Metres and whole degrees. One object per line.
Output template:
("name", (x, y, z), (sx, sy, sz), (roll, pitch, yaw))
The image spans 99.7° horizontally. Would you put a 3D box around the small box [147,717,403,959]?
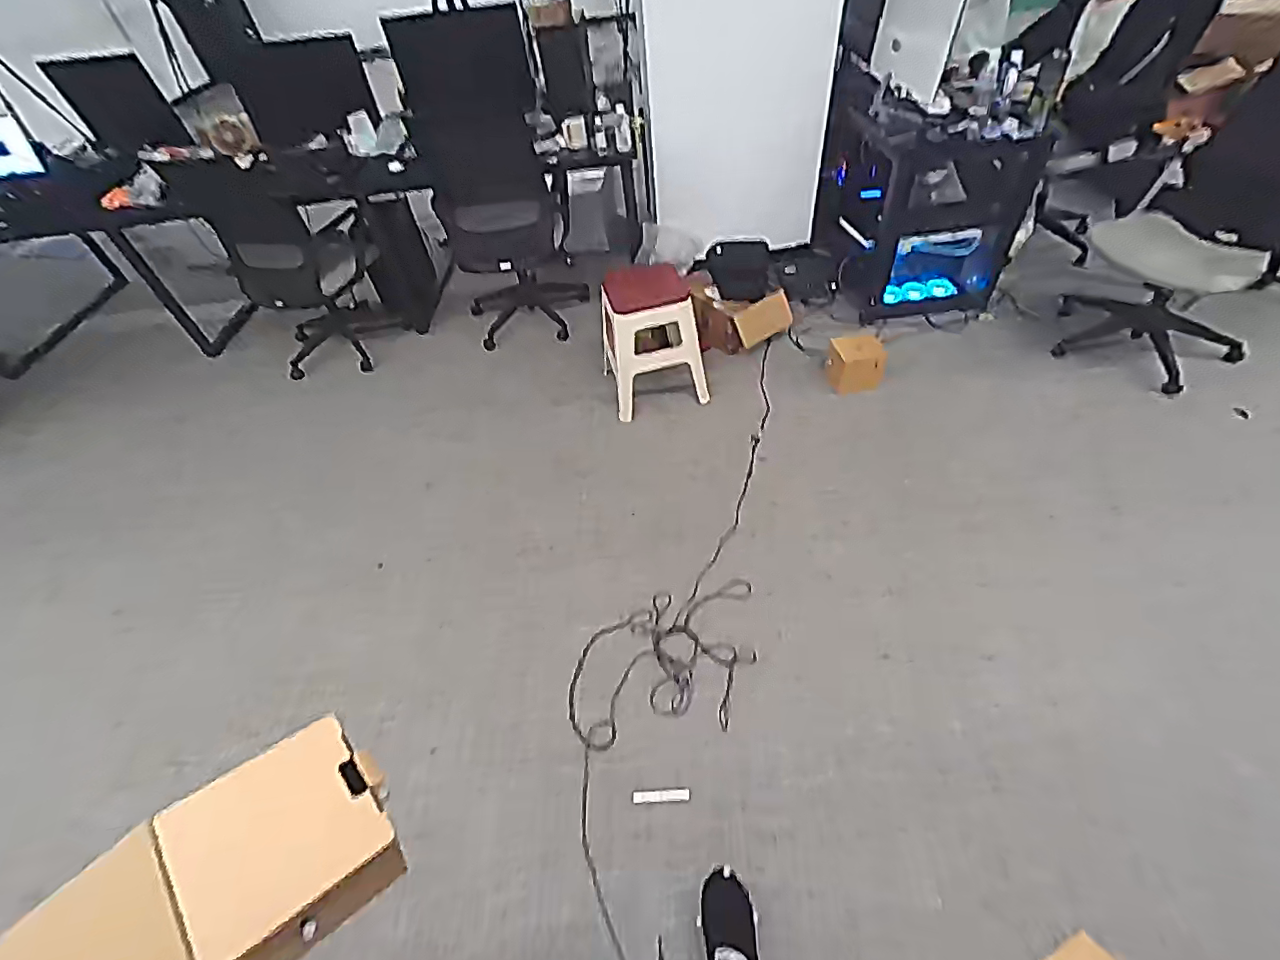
("small box", (-0.386, 0.411, 0.598), (0.179, 0.176, 0.168), (-26, 57, -37))
